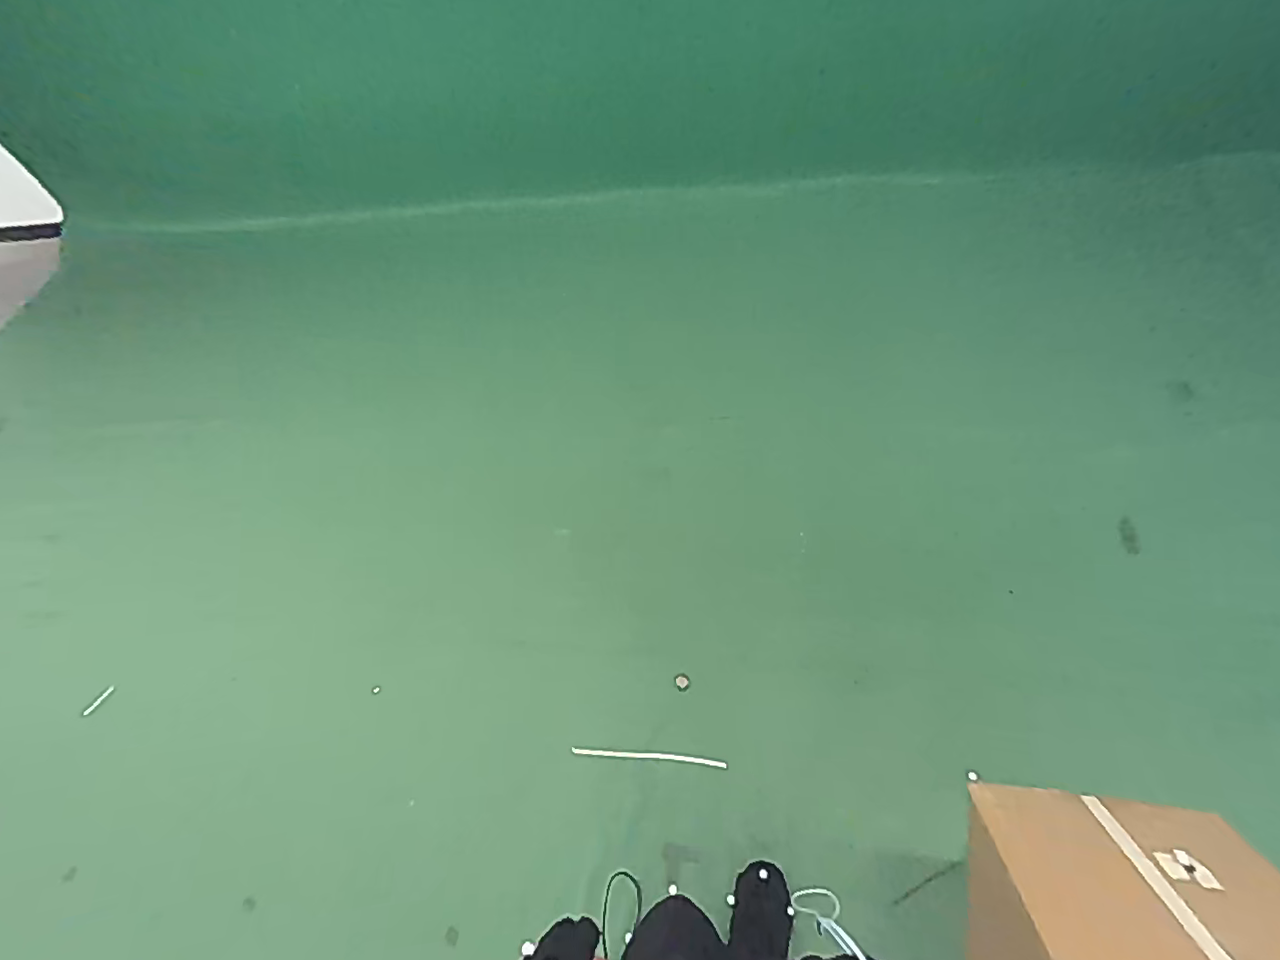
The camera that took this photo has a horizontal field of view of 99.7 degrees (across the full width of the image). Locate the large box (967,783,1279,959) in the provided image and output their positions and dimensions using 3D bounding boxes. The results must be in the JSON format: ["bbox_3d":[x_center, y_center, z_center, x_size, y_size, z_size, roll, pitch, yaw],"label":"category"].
[{"bbox_3d":[0.609,0.631,0.620,0.320,0.408,0.320,0,94,16],"label":"large box"}]
